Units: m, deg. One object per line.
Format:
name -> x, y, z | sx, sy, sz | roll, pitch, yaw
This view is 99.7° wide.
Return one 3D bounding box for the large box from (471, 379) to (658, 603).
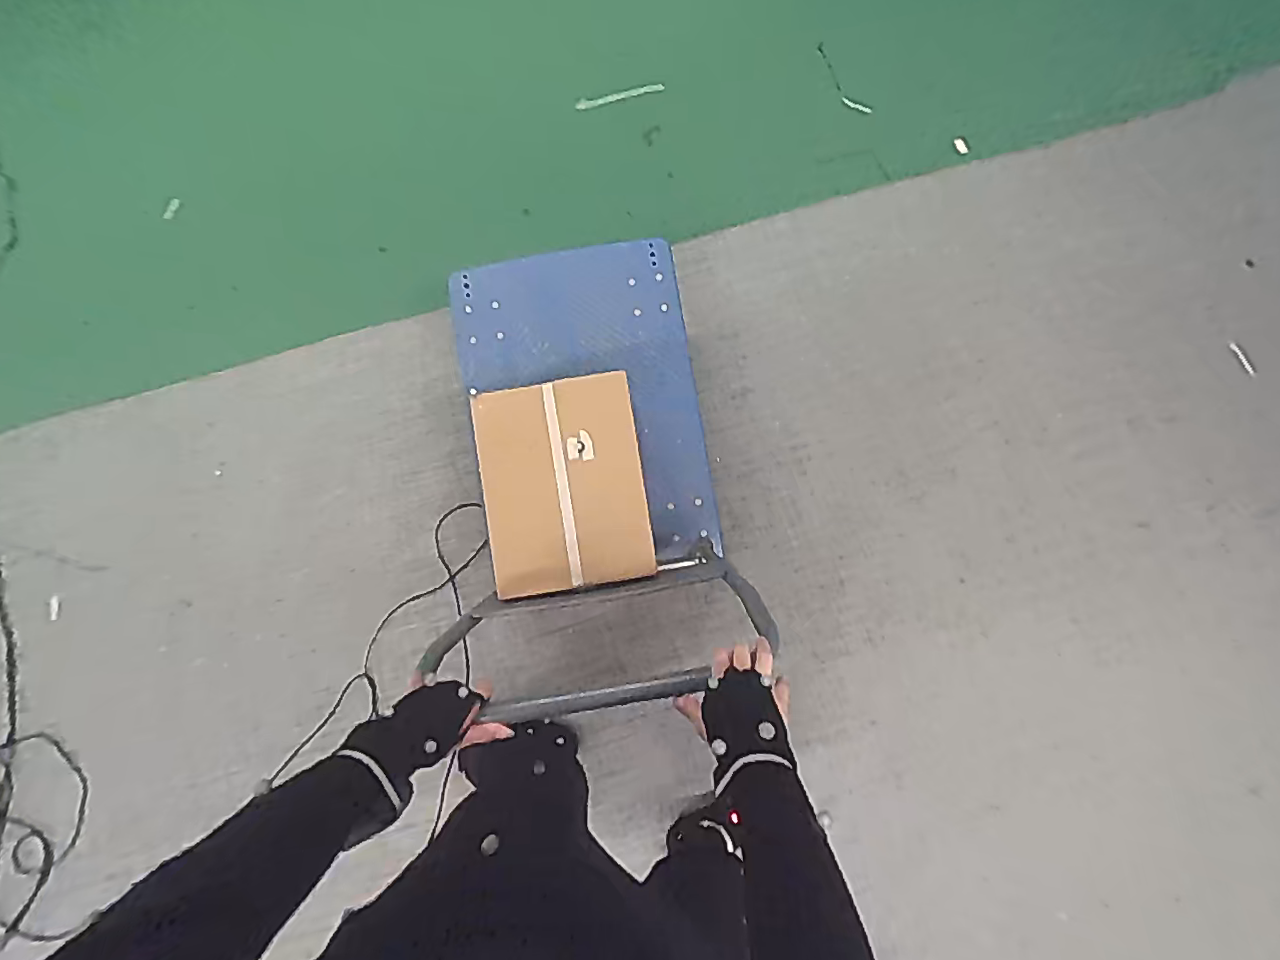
large box -> -0.148, 0.031, 1.205 | 0.320, 0.320, 0.408 | -10, 86, -1
